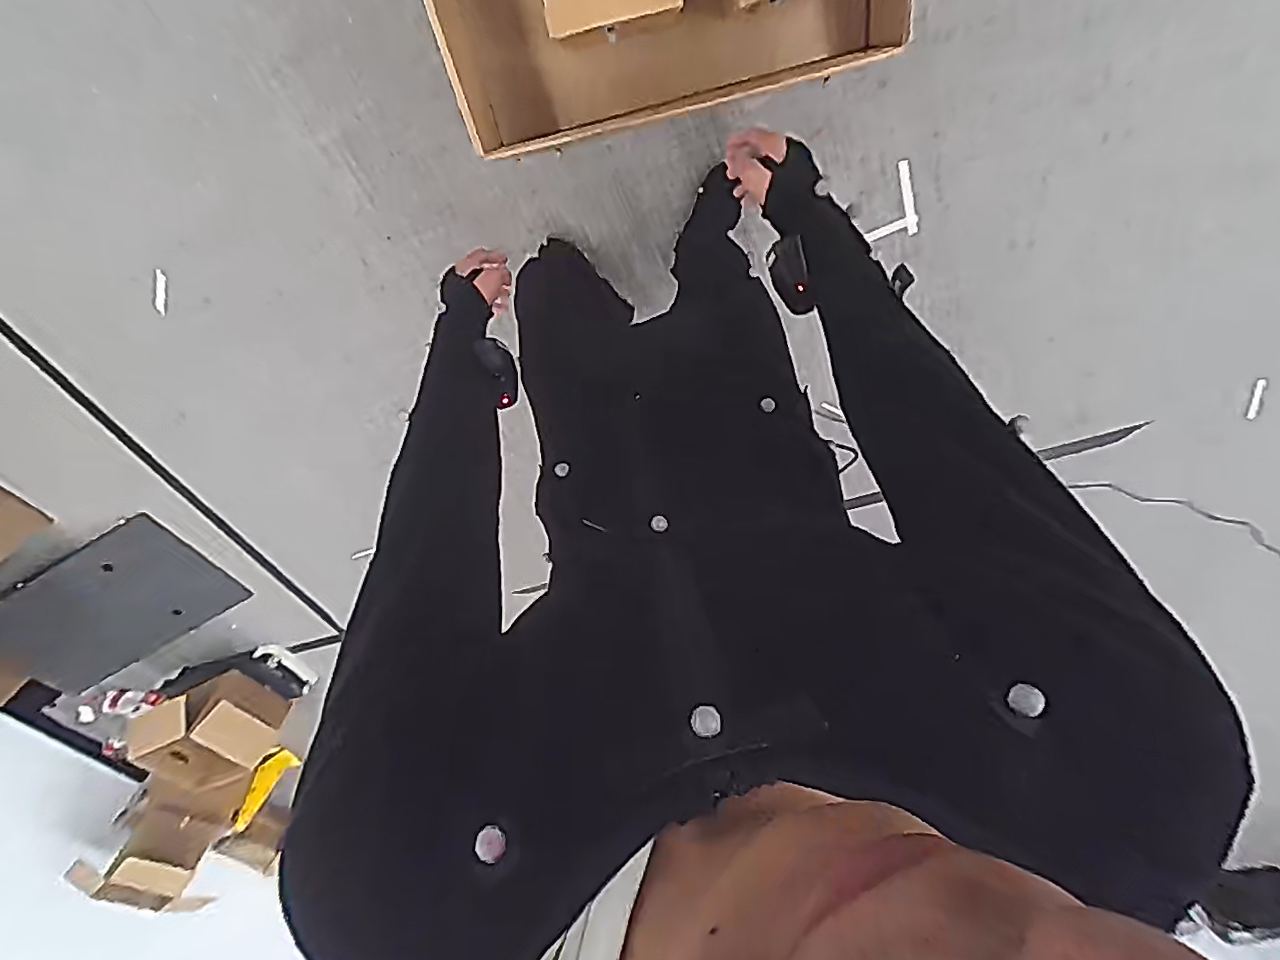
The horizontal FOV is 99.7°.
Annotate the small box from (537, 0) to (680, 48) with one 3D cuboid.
[{"bbox_3d":[-0.050,-0.684,0.698,0.179,0.176,0.168,-9,125,7],"label":"small box"}]
